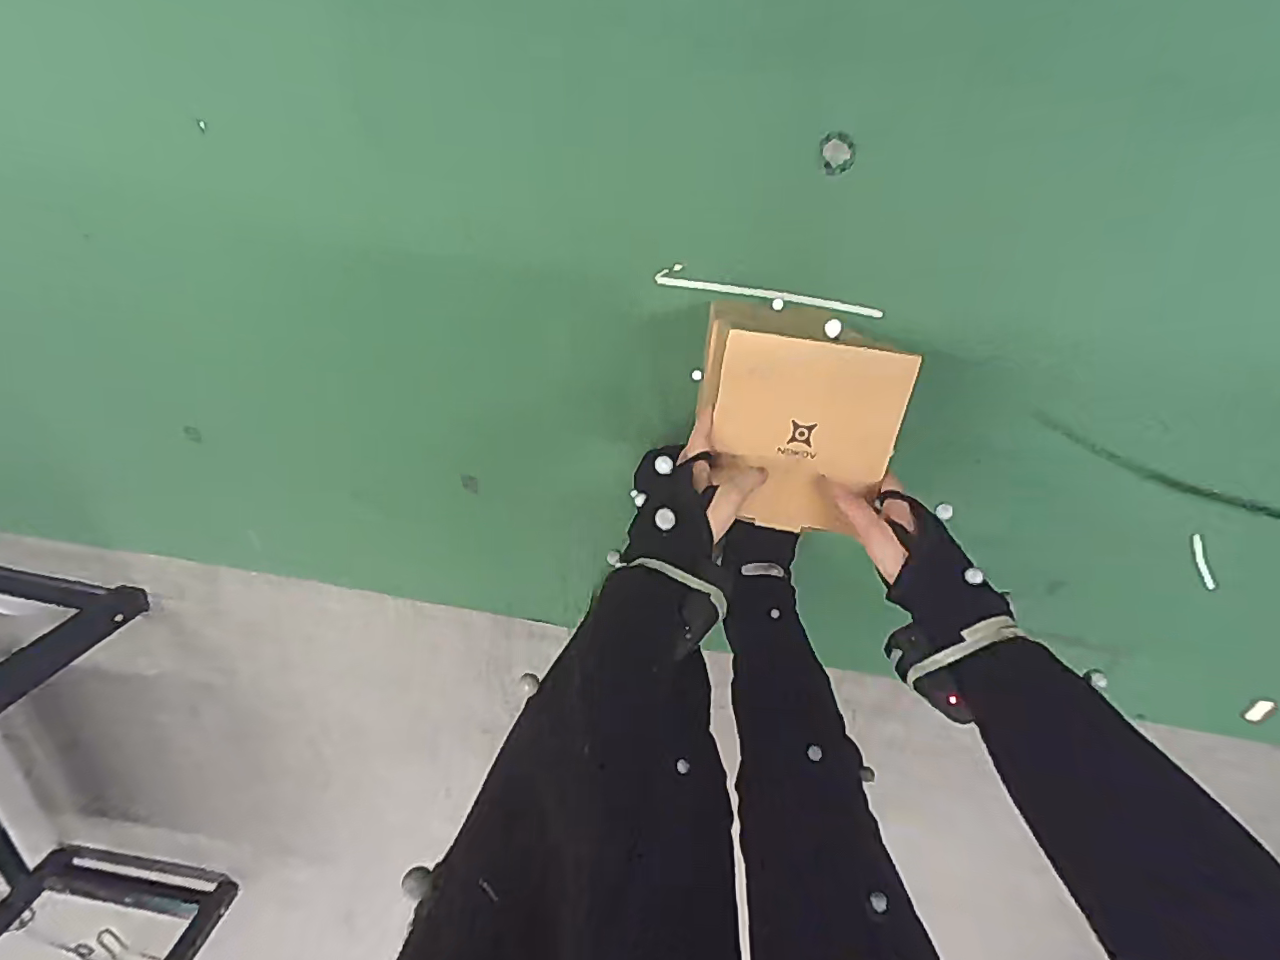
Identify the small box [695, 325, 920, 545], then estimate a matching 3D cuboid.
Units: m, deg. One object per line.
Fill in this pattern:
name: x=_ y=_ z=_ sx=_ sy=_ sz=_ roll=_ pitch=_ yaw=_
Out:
small box: x=0.150 y=-0.058 z=0.559 sx=0.168 sy=0.176 sz=0.179 roll=10 pitch=111 yaw=2
